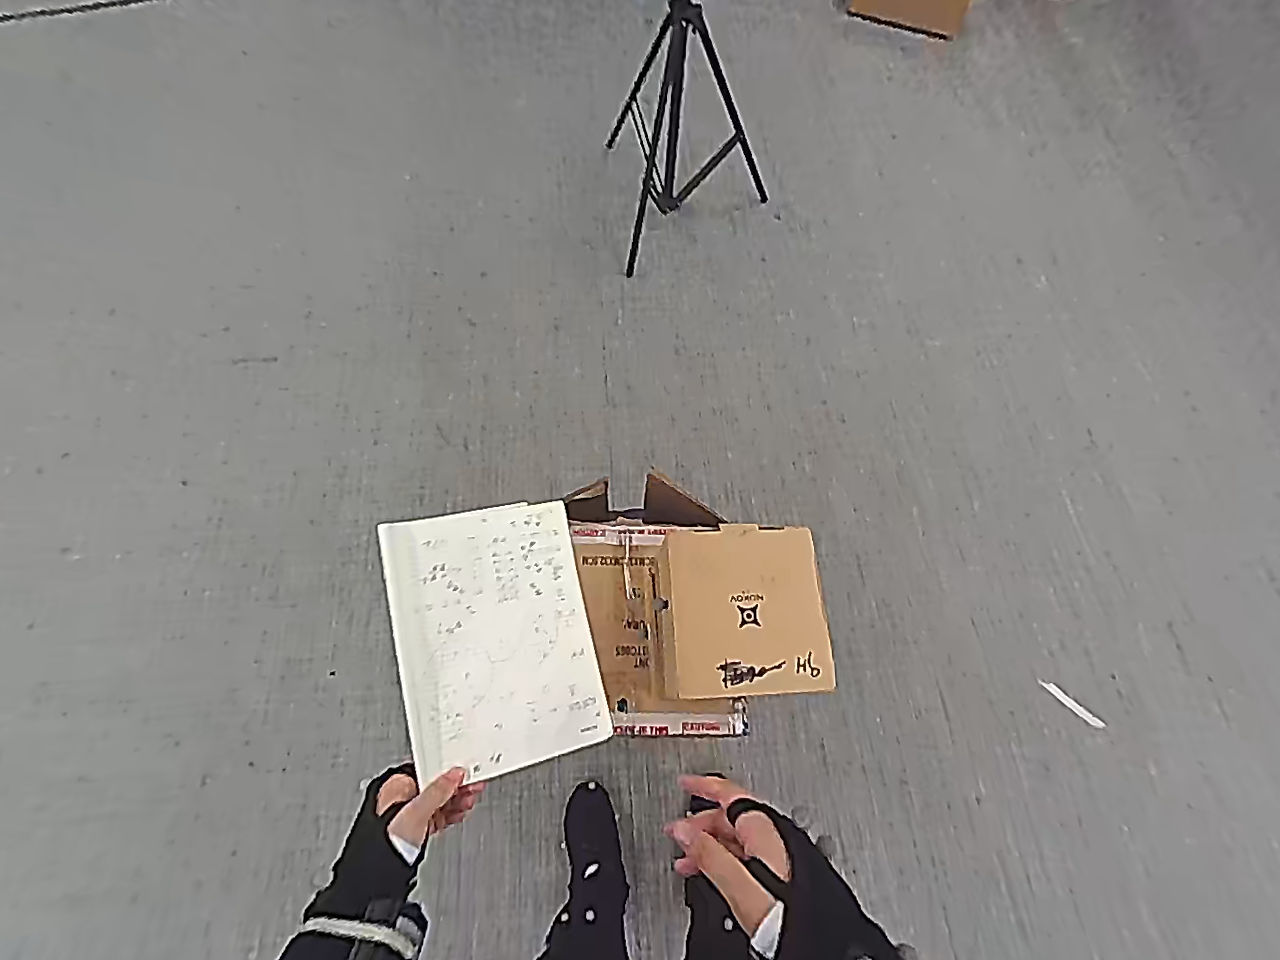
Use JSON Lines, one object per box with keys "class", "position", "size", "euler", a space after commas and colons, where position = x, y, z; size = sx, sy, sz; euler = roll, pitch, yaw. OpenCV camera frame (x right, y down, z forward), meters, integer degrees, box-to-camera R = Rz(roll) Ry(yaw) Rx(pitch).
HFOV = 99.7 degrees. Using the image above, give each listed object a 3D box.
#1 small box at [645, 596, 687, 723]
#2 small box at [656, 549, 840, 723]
{"class": "small box", "position": [0.105, 0.255, 0.797], "size": [0.179, 0.176, 0.168], "euler": [-4, 70, -5]}
{"class": "small box", "position": [0.112, 0.189, 0.647], "size": [0.168, 0.176, 0.179], "euler": [-2, 69, -5]}
